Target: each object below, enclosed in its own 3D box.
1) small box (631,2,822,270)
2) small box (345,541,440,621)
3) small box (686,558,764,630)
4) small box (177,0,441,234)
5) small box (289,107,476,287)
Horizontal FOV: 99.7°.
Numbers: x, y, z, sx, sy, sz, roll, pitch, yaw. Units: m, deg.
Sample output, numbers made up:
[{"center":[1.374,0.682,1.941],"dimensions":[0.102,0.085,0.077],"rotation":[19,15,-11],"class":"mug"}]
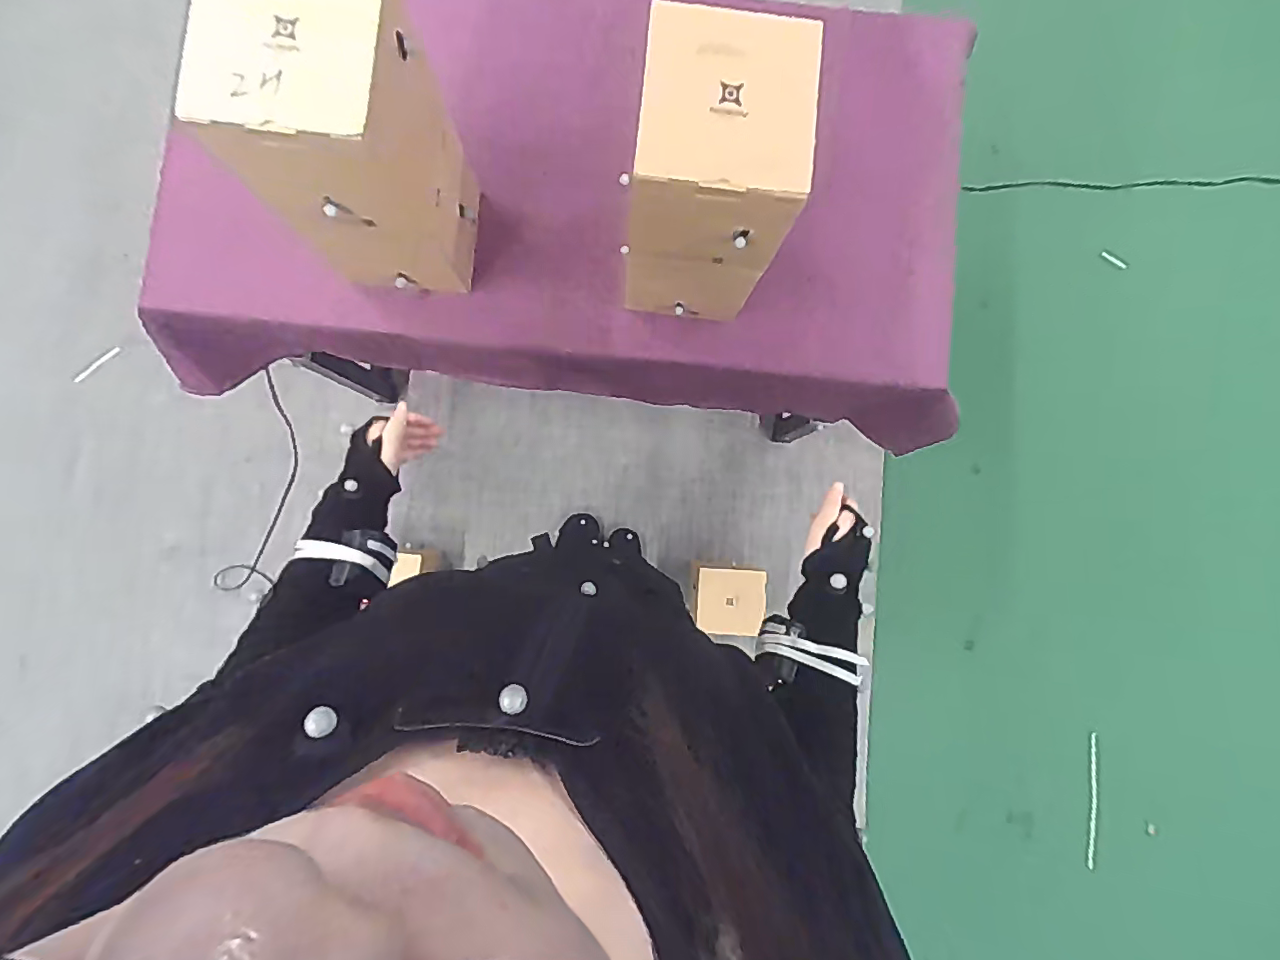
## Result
[{"center":[0.080,-0.350,0.585],"dimensions":[0.168,0.176,0.179],"rotation":[6,86,-3],"class":"small box"},{"center":[-0.635,0.257,1.406],"dimensions":[0.168,0.176,0.179],"rotation":[6,85,-3],"class":"small box"},{"center":[0.221,0.300,1.450],"dimensions":[0.179,0.176,0.168],"rotation":[4,87,-3],"class":"small box"},{"center":[-0.320,-0.391,0.564],"dimensions":[0.168,0.176,0.179],"rotation":[6,86,-2],"class":"small box"},{"center":[-0.329,-0.375,0.729],"dimensions":[0.179,0.176,0.168],"rotation":[4,86,-4],"class":"small box"}]
